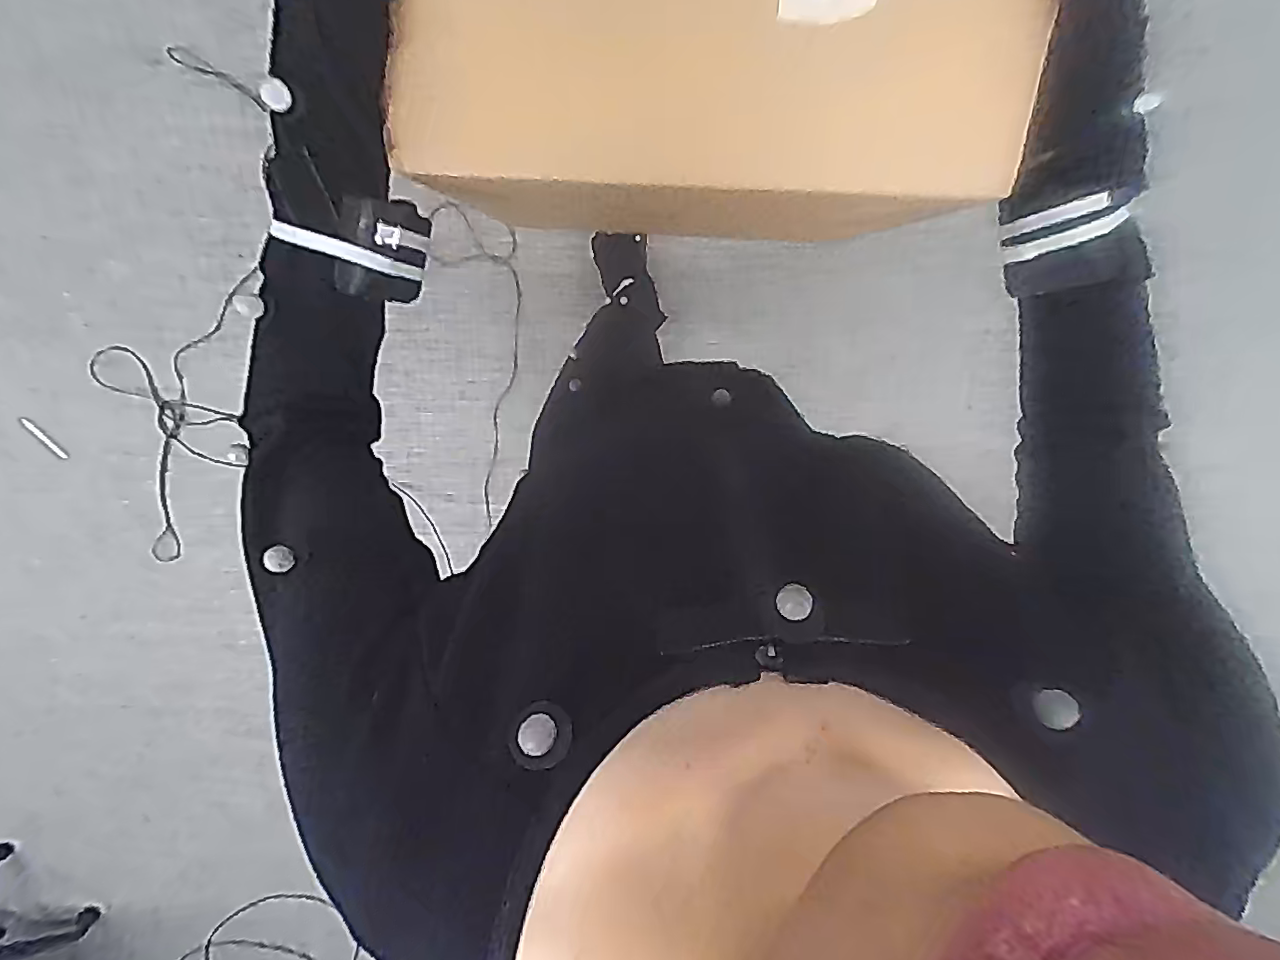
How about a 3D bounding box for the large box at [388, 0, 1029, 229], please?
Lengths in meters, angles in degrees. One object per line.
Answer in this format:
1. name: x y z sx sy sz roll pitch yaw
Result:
1. large box: 0.043 -0.402 0.456 0.408 0.320 0.320 2 109 0
